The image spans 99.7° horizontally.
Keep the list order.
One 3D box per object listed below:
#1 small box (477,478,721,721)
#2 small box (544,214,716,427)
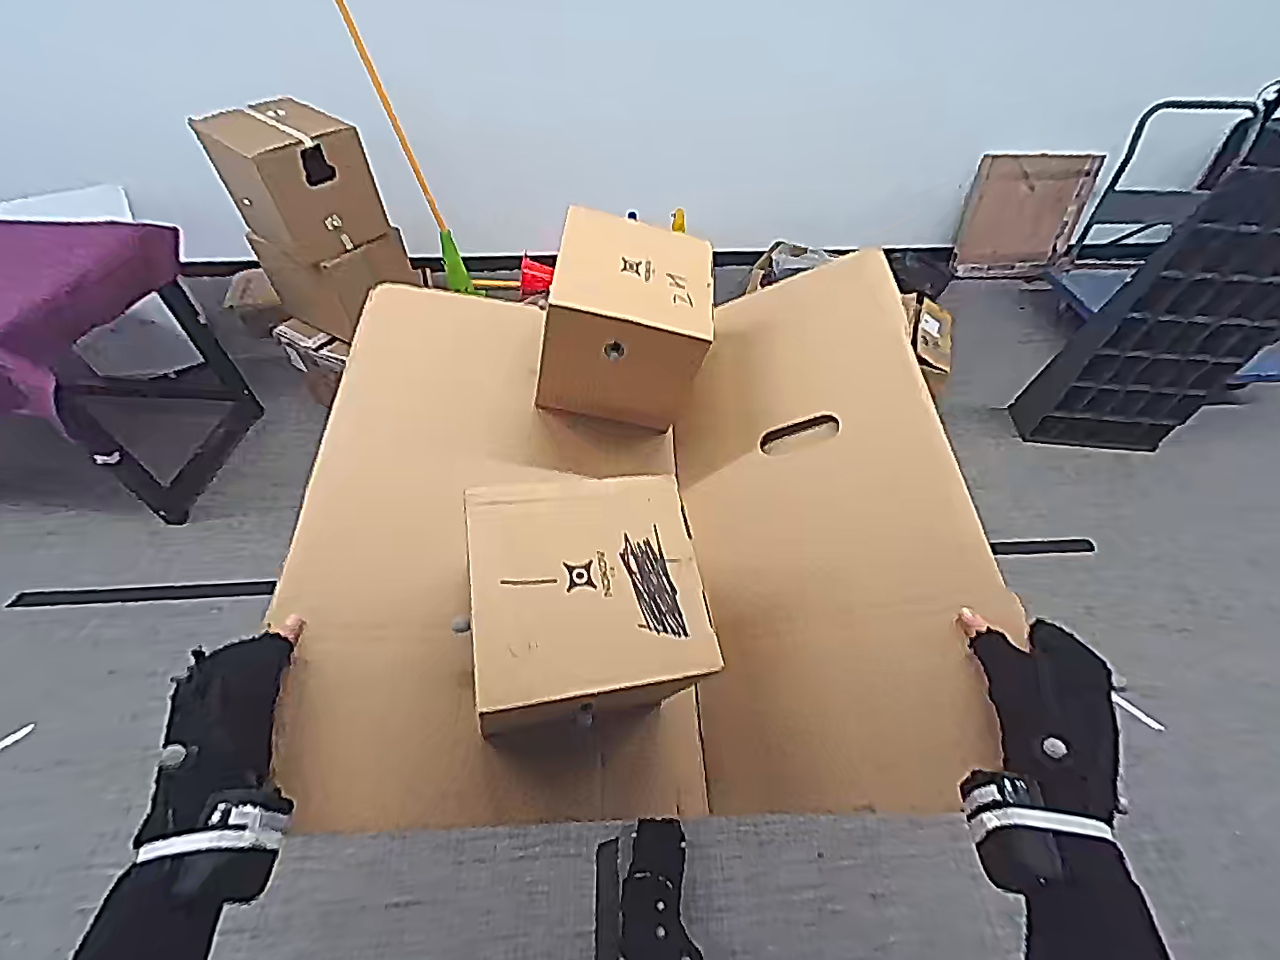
[{"bbox_3d":[-0.053,0.111,0.487,0.179,0.176,0.168,-3,62,-17],"label":"small box"},{"bbox_3d":[-0.017,-0.186,0.668,0.179,0.176,0.168,11,59,-10],"label":"small box"}]
